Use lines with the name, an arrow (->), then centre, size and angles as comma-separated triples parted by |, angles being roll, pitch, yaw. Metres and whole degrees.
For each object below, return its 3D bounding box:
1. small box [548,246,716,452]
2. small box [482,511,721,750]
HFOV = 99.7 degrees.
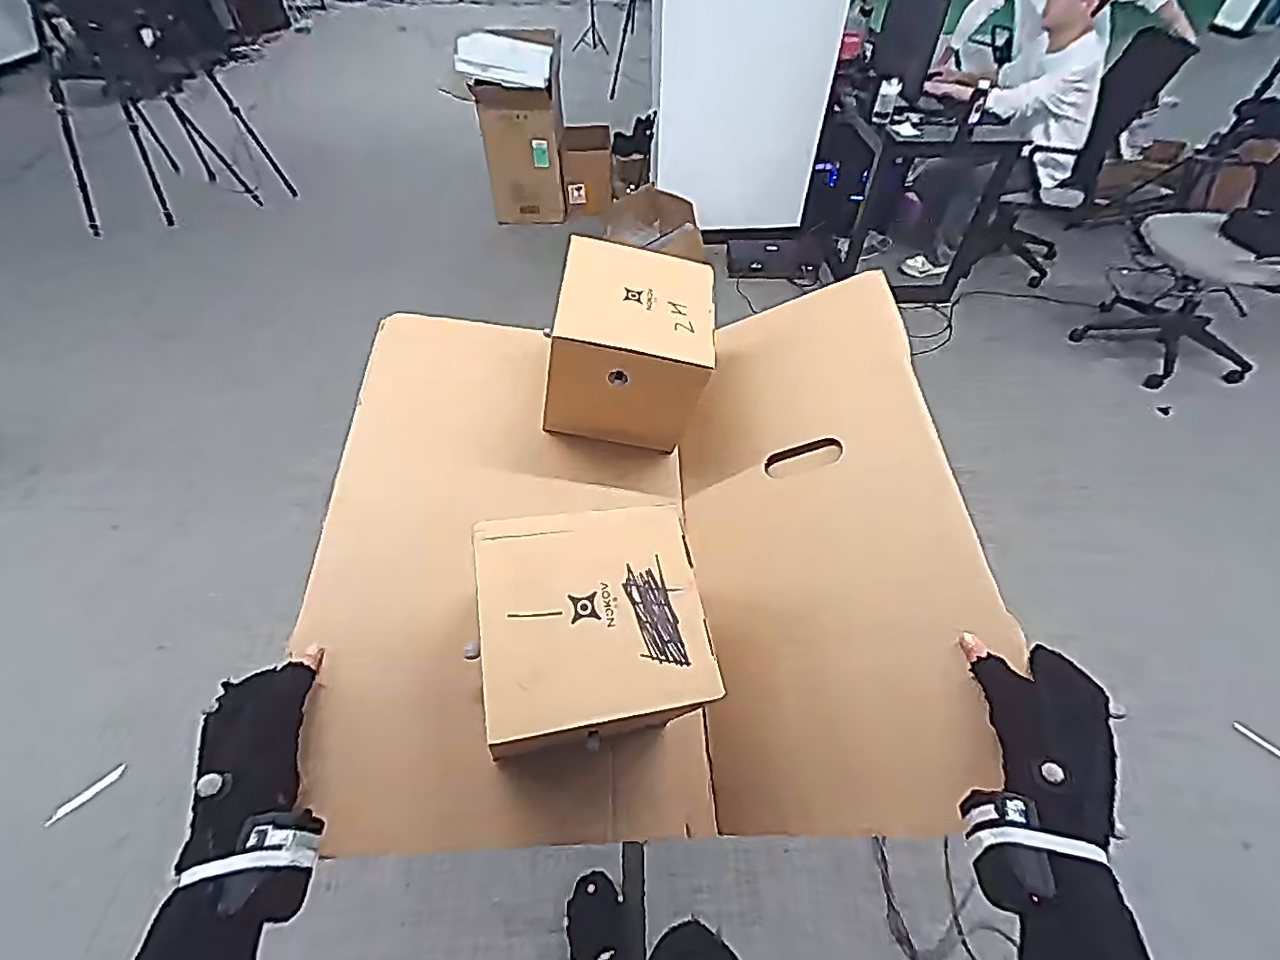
small box -> -0.014, -0.154, 0.679 | 0.179, 0.176, 0.168 | 11, 59, -9
small box -> -0.050, 0.142, 0.498 | 0.179, 0.176, 0.168 | -4, 62, -16
